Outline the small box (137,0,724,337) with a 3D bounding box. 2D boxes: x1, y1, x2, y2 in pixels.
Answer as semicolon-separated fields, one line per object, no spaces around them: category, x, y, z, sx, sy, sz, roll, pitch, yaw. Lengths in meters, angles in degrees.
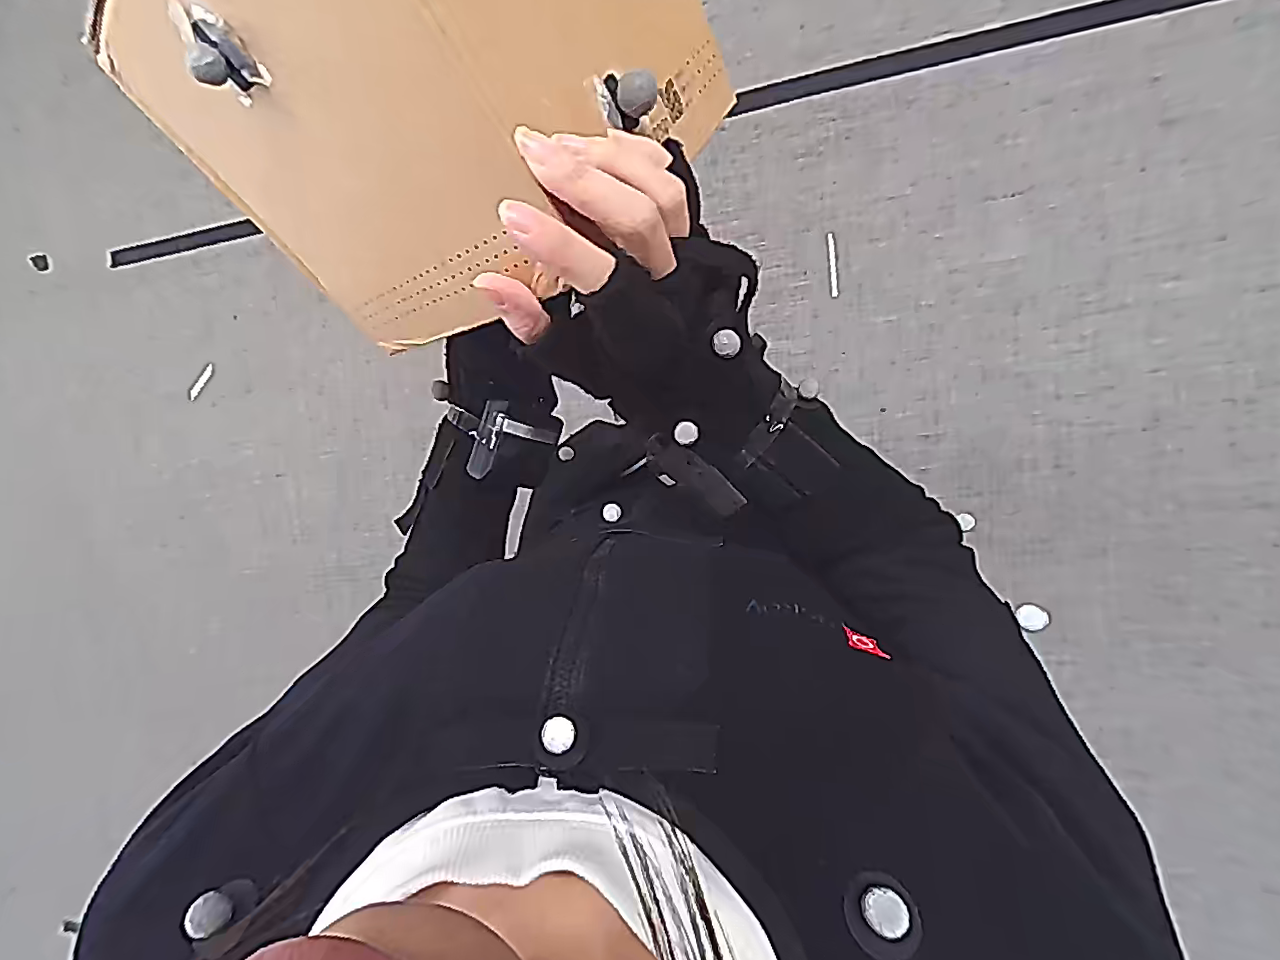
small box;-0.088;-0.194;0.272;0.179;0.168;0.176;0;141;41
